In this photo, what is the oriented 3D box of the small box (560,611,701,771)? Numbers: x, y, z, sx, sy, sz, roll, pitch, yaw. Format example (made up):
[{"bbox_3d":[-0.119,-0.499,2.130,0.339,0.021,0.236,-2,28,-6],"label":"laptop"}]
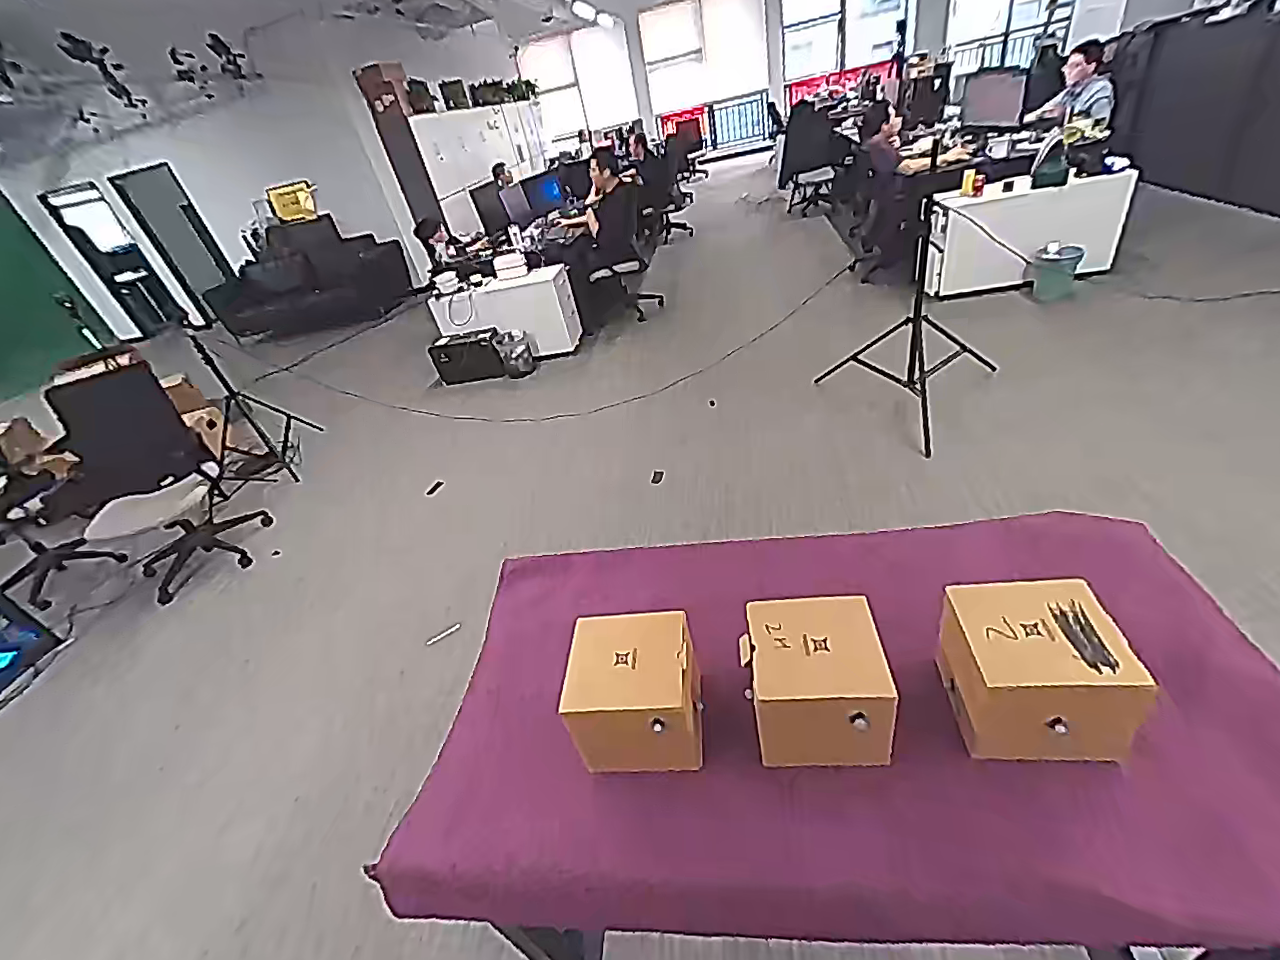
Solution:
[{"bbox_3d":[-0.005,0.326,0.832,0.179,0.176,0.168,-7,35,9],"label":"small box"}]

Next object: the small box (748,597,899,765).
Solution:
[{"bbox_3d":[0.255,0.292,0.785,0.179,0.176,0.168,-7,34,11],"label":"small box"}]
